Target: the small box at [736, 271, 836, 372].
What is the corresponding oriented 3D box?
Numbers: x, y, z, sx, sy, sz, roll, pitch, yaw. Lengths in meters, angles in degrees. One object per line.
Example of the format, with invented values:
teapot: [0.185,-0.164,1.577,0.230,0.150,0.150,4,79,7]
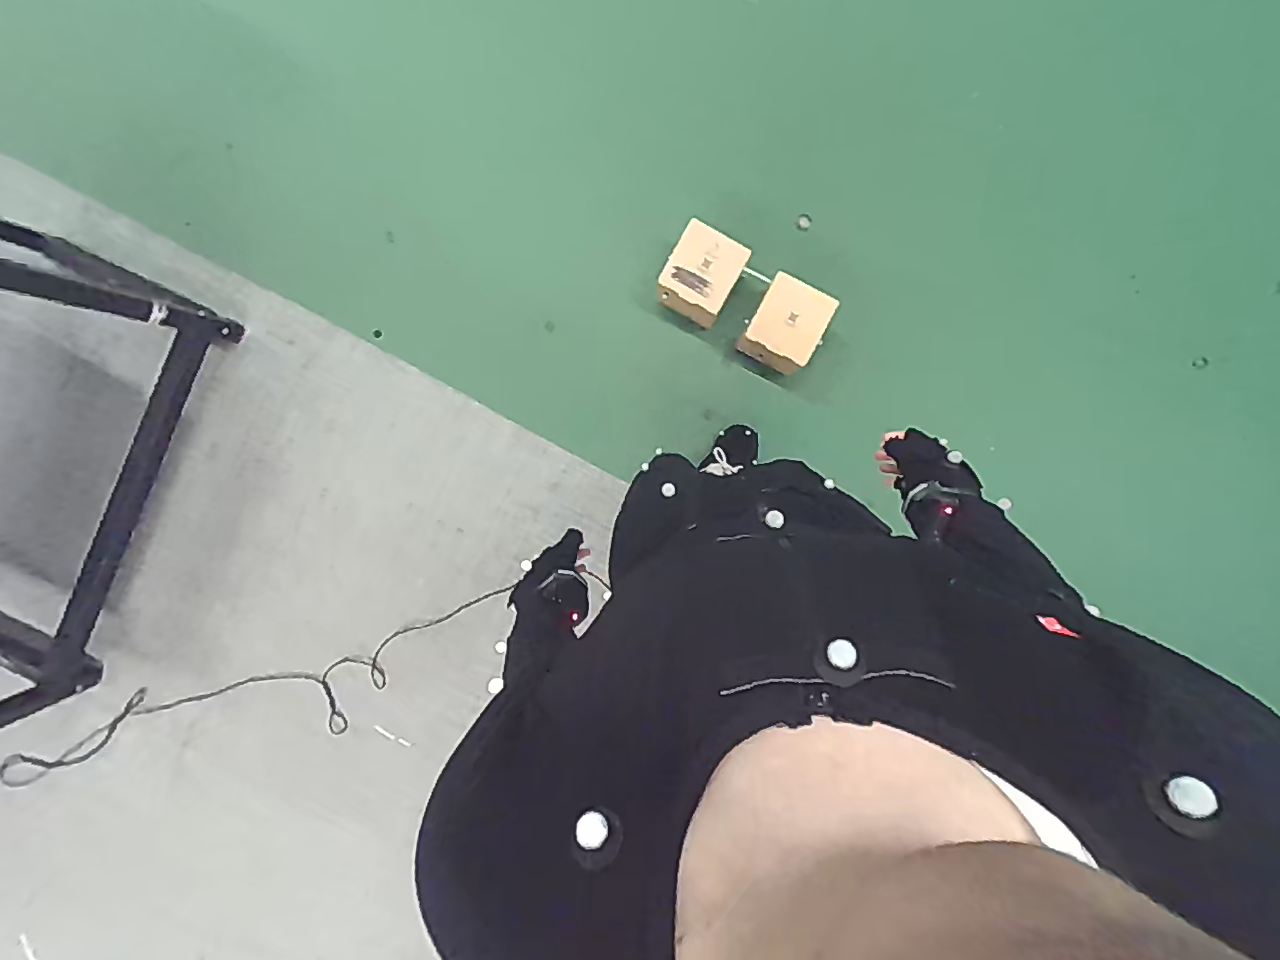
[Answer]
small box: [0.360,-0.393,1.372,0.168,0.176,0.179,28,96,-1]
